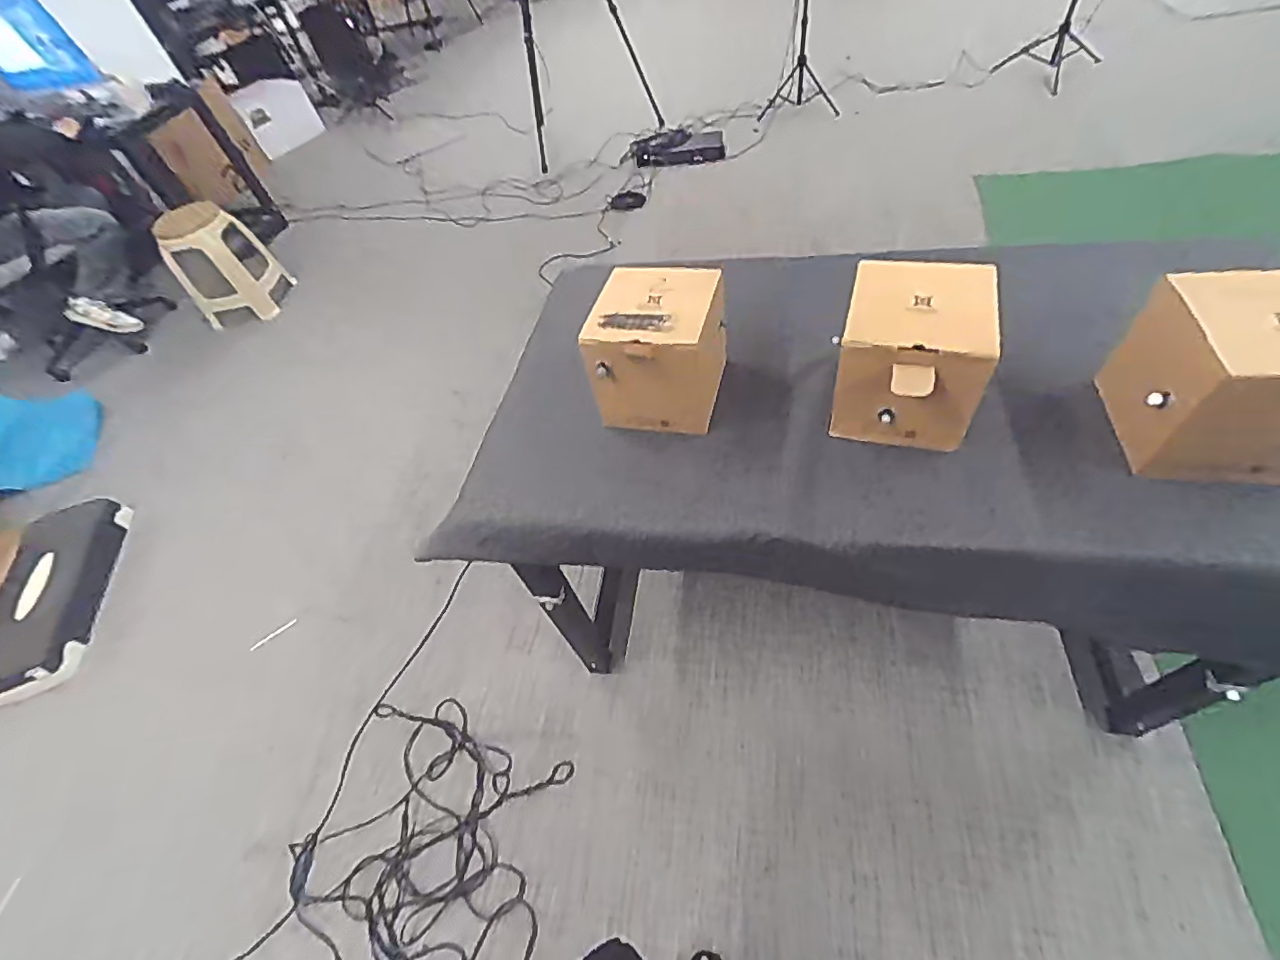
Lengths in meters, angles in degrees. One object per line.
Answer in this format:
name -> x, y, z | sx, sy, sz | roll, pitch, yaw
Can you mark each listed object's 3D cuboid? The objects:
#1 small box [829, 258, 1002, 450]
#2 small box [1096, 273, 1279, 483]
small box -> 0.355, -0.168, 0.719 | 0.168, 0.176, 0.179 | 11, 56, 18
small box -> 0.676, -0.113, 0.615 | 0.168, 0.176, 0.179 | 4, 52, 13
